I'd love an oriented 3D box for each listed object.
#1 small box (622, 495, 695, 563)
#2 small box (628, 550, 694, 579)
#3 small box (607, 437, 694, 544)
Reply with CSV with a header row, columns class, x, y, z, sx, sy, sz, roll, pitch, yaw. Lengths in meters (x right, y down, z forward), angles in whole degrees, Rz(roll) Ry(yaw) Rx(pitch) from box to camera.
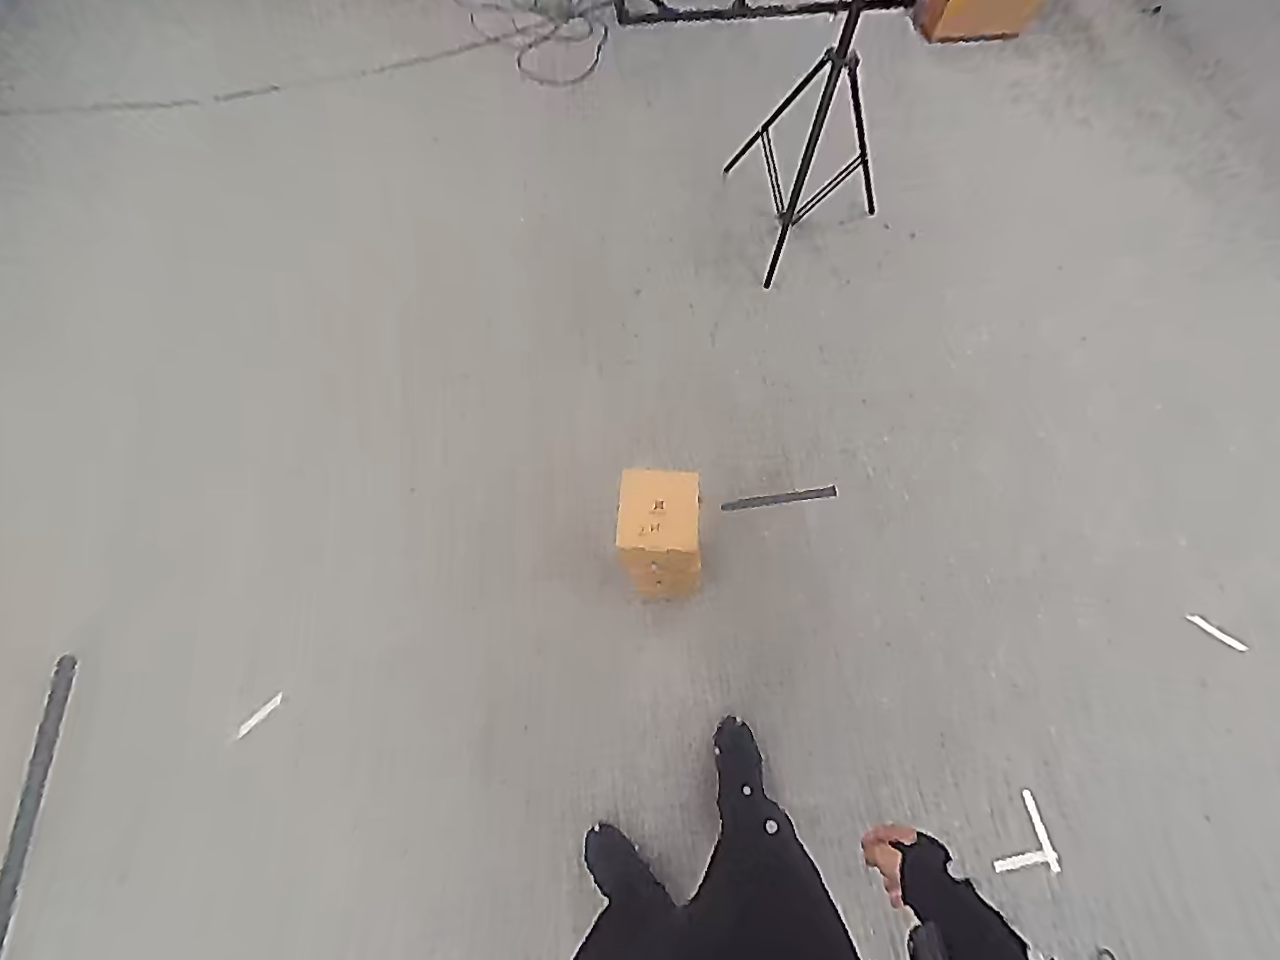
class,x,y,z,sx,sy,sz,roll,pitch,yaw
small box,0.039,0.095,1.303,0.168,0.176,0.179,-2,68,-1
small box,0.048,0.159,1.451,0.168,0.176,0.179,-4,68,-2
small box,0.022,0.026,1.153,0.168,0.176,0.179,4,68,2
